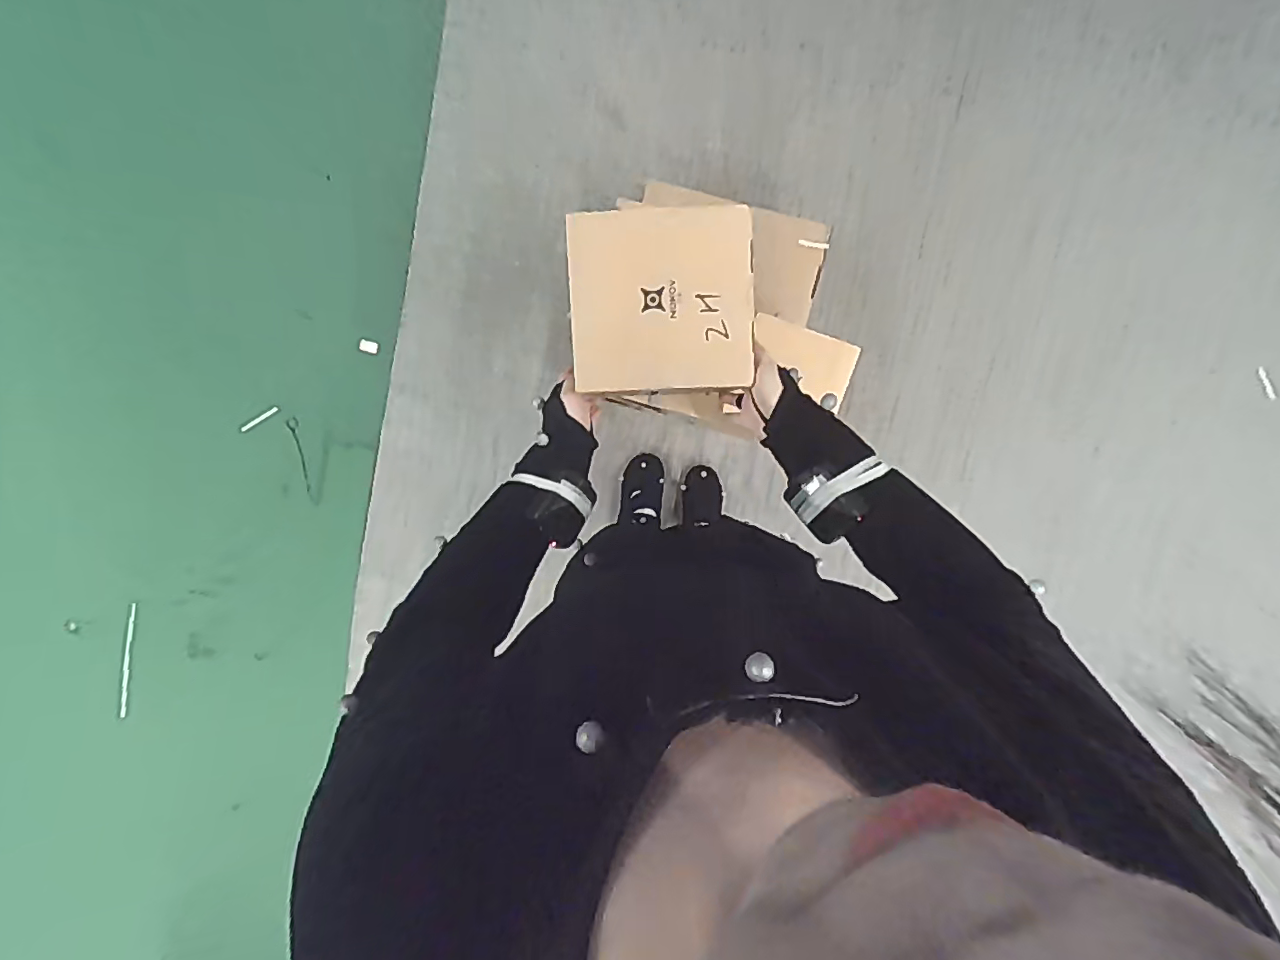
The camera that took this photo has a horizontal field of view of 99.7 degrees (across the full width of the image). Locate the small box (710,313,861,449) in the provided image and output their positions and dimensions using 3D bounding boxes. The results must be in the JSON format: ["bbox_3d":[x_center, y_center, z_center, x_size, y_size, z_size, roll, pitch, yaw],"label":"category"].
[{"bbox_3d":[0.233,-0.161,0.913,0.179,0.176,0.168,19,95,-1],"label":"small box"}]

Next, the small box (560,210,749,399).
[{"bbox_3d":[0.016,-0.174,0.584,0.179,0.176,0.168,-2,98,1],"label":"small box"}]
